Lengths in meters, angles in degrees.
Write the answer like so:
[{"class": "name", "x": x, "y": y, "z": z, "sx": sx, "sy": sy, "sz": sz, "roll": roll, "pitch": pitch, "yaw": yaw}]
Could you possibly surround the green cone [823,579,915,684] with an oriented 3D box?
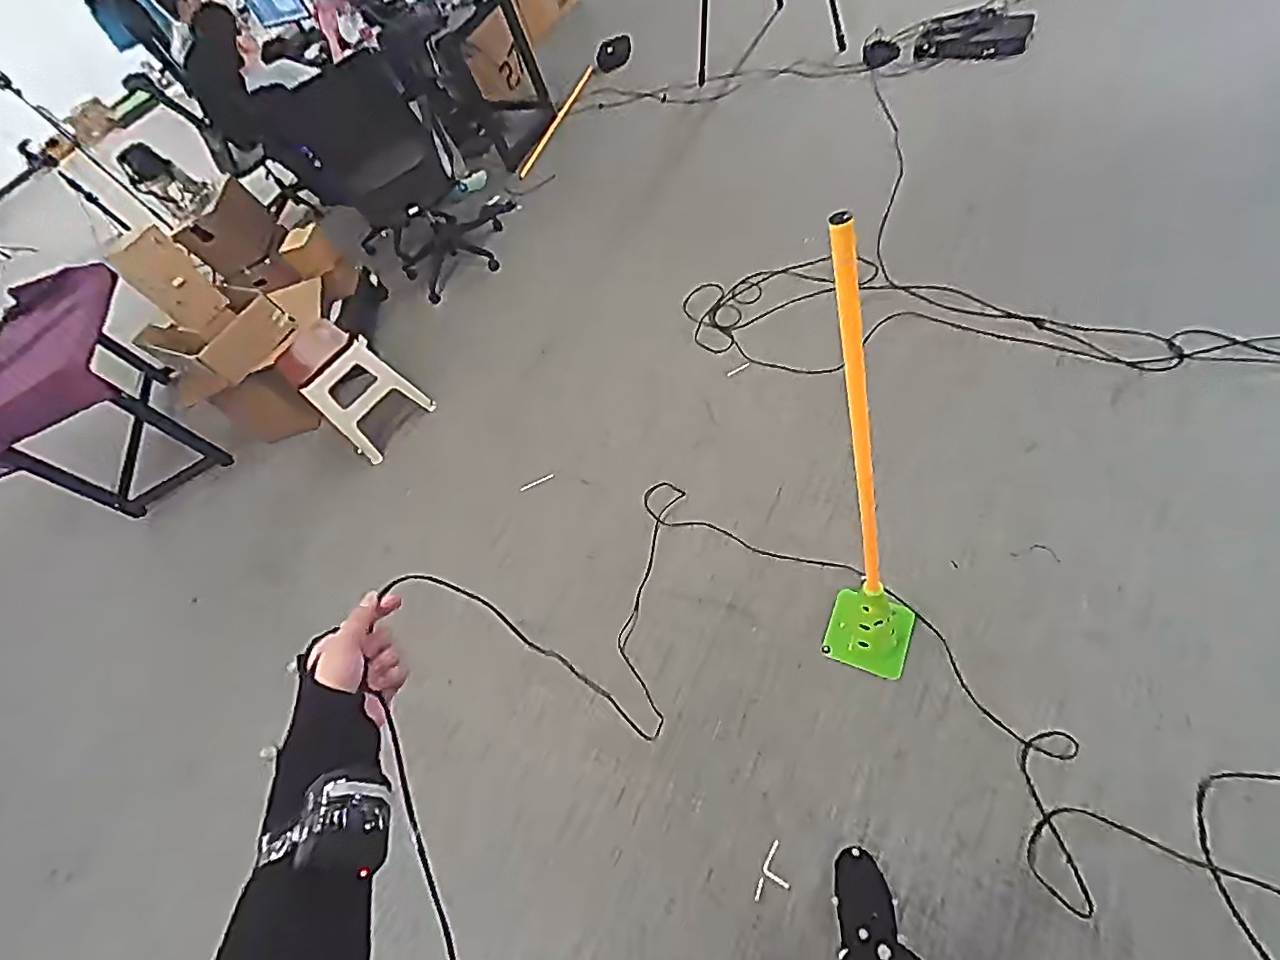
[{"class": "green cone", "x": 0.561, "y": 0.330, "z": 1.305, "sx": 0.200, "sy": 0.368, "sz": 0.202, "roll": 14, "pitch": 64, "yaw": 27}]
